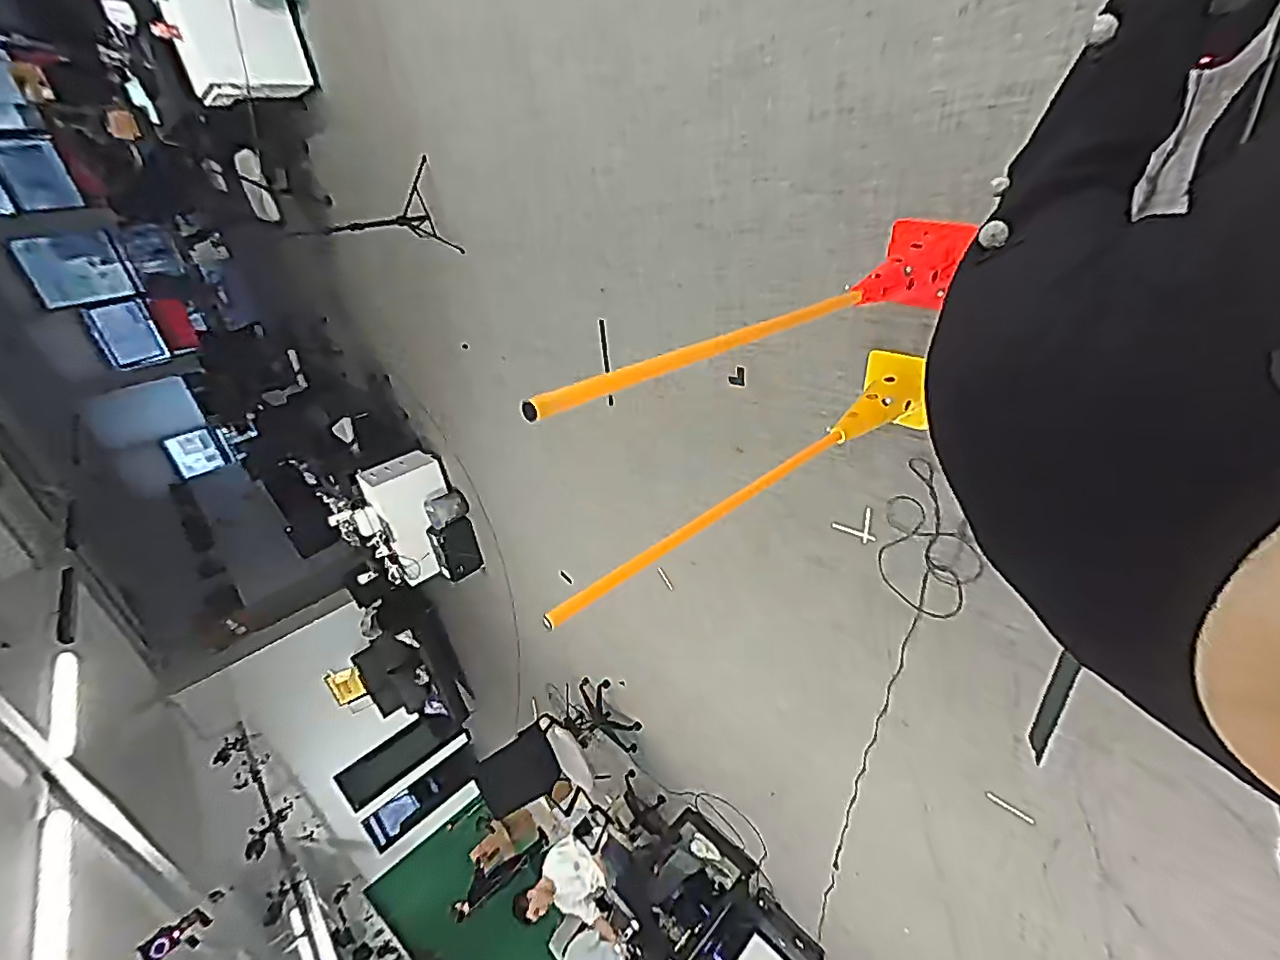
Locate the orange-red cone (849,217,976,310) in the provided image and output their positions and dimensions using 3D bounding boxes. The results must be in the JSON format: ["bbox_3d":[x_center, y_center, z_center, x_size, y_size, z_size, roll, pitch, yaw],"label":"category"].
[{"bbox_3d":[0.575,-0.463,1.227,0.198,0.360,0.199,29,133,36],"label":"orange-red cone"}]
